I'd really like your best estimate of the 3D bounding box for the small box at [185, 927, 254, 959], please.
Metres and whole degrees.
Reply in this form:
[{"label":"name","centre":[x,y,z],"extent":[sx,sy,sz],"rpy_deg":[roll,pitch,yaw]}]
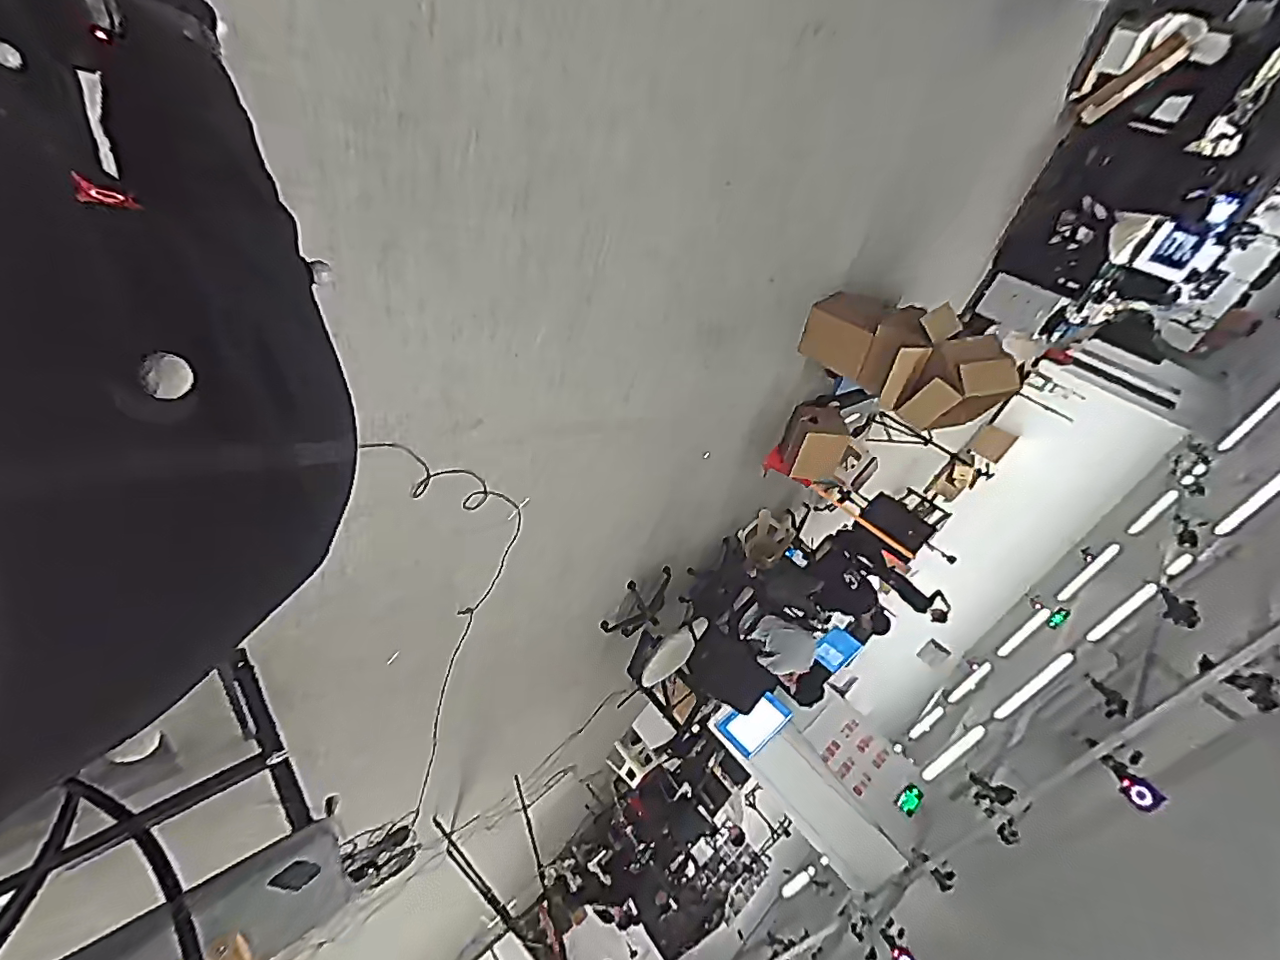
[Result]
[{"label":"small box","centre":[-1.091,1.305,1.387],"extent":[0.168,0.176,0.179],"rpy_deg":[-21,142,-40]}]
